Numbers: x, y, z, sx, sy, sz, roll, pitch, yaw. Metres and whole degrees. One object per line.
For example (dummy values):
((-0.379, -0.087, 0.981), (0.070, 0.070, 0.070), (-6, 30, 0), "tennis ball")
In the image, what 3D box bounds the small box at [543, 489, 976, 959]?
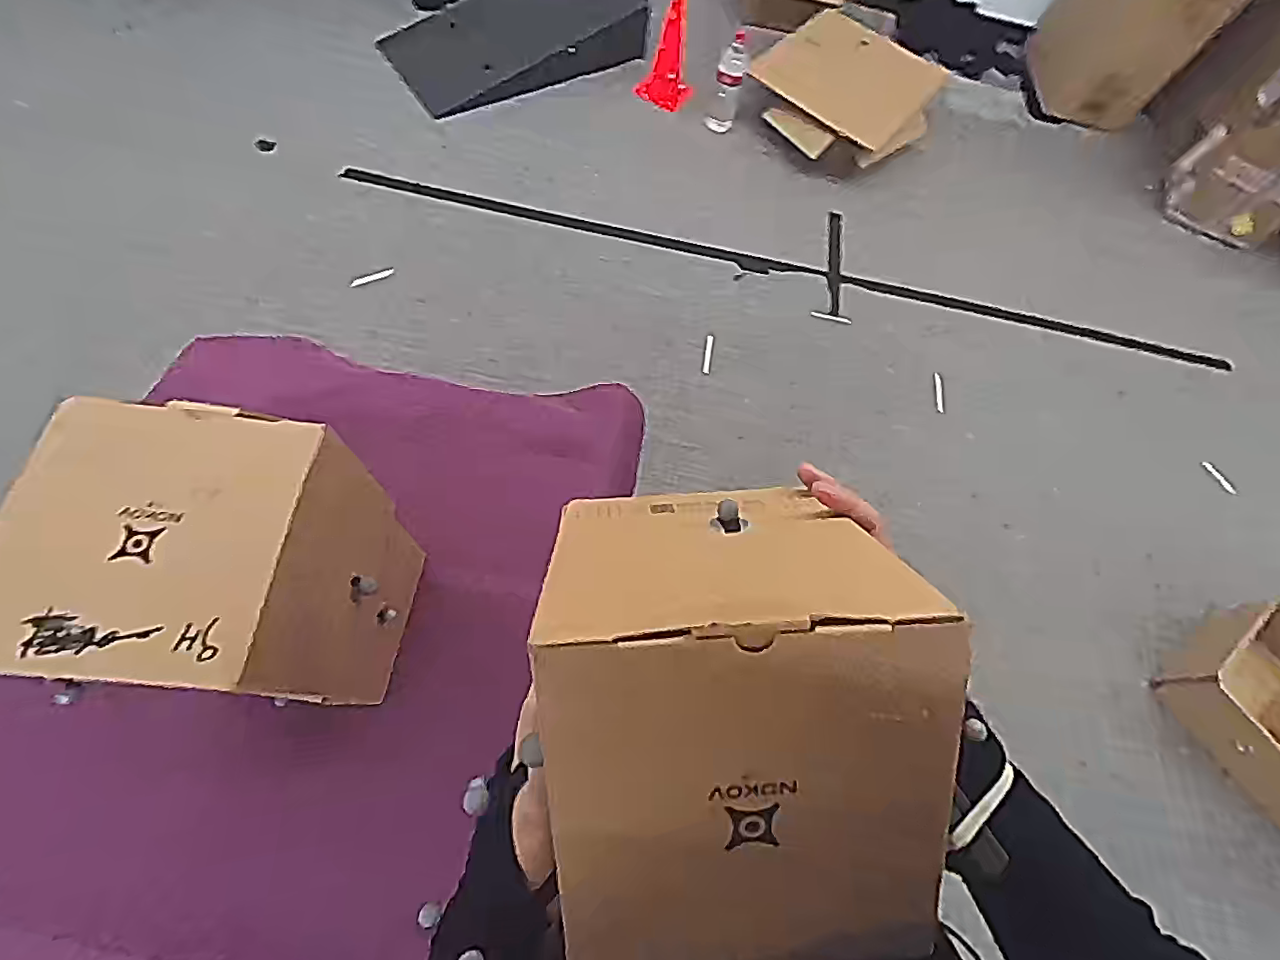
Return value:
((0.045, 0.113, 0.300), (0.168, 0.176, 0.179), (-3, 104, -2), "small box")

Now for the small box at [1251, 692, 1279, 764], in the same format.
((1.762, 0.659, 1.392), (0.179, 0.176, 0.168), (-27, 72, -19), "small box")

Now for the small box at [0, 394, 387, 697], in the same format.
((-0.312, 0.062, 0.409), (0.168, 0.176, 0.179), (7, 66, -5), "small box")
